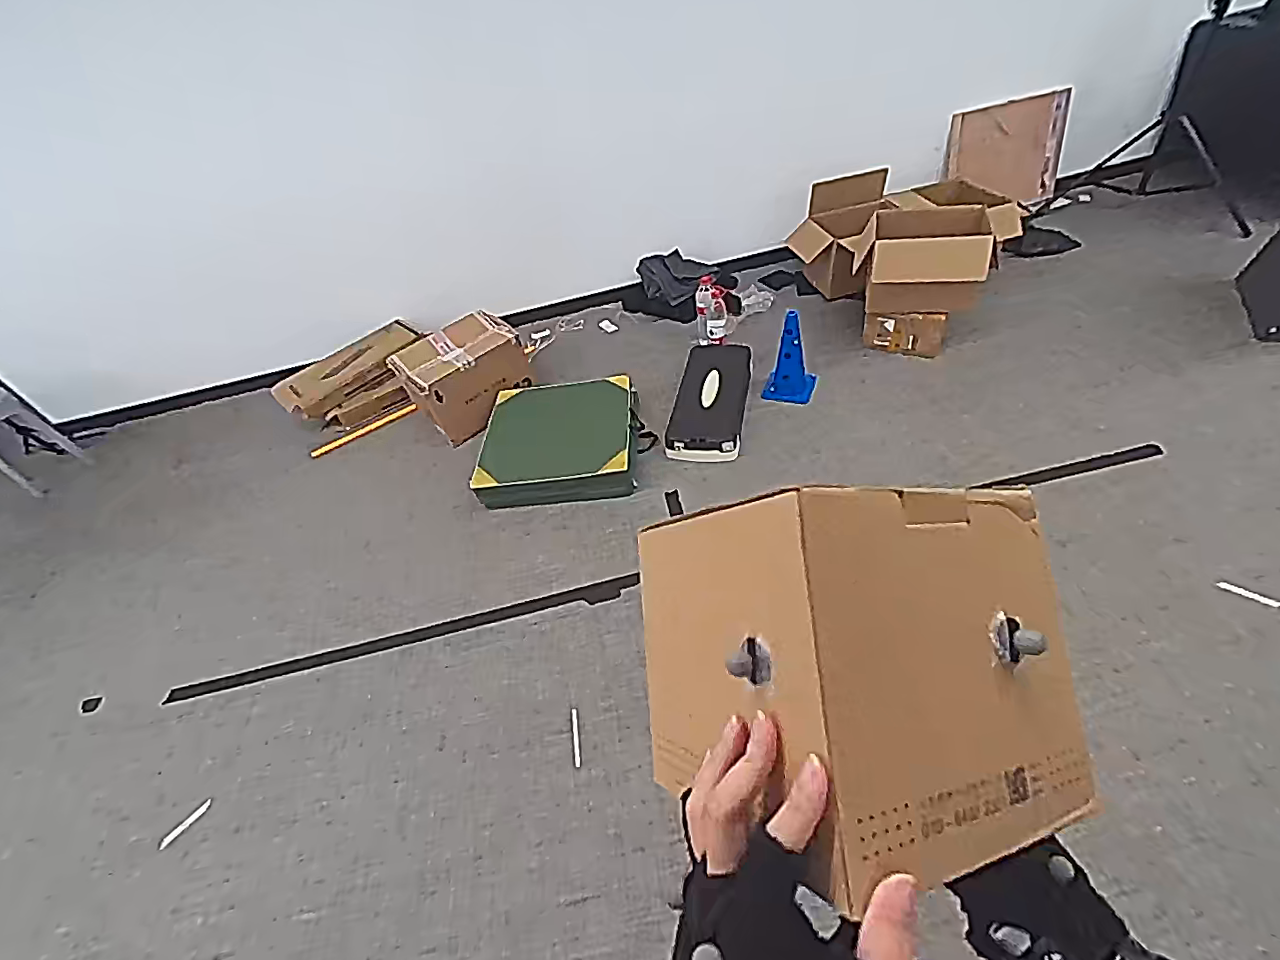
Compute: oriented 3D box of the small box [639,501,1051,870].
[{"bbox_3d":[0.112,0.111,0.342,0.168,0.179,0.176,0,78,-23],"label":"small box"}]
